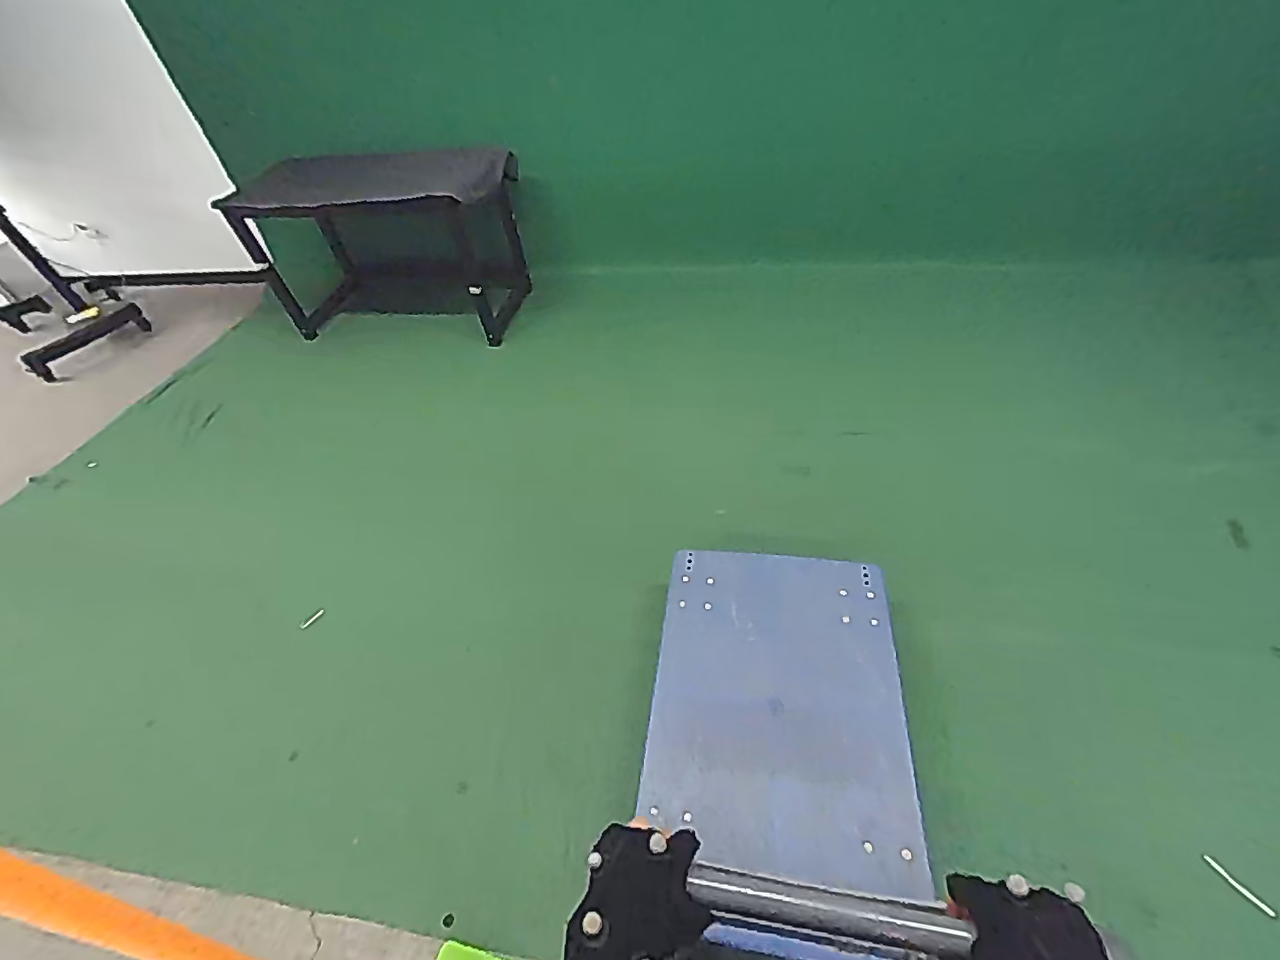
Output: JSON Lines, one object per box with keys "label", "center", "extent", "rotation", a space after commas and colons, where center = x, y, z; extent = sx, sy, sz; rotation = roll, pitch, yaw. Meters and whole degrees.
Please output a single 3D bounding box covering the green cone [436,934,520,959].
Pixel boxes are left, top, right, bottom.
{"label": "green cone", "center": [-0.366, 0.942, 0.963], "extent": [0.202, 0.368, 0.200], "rotation": [6, 47, 14]}
